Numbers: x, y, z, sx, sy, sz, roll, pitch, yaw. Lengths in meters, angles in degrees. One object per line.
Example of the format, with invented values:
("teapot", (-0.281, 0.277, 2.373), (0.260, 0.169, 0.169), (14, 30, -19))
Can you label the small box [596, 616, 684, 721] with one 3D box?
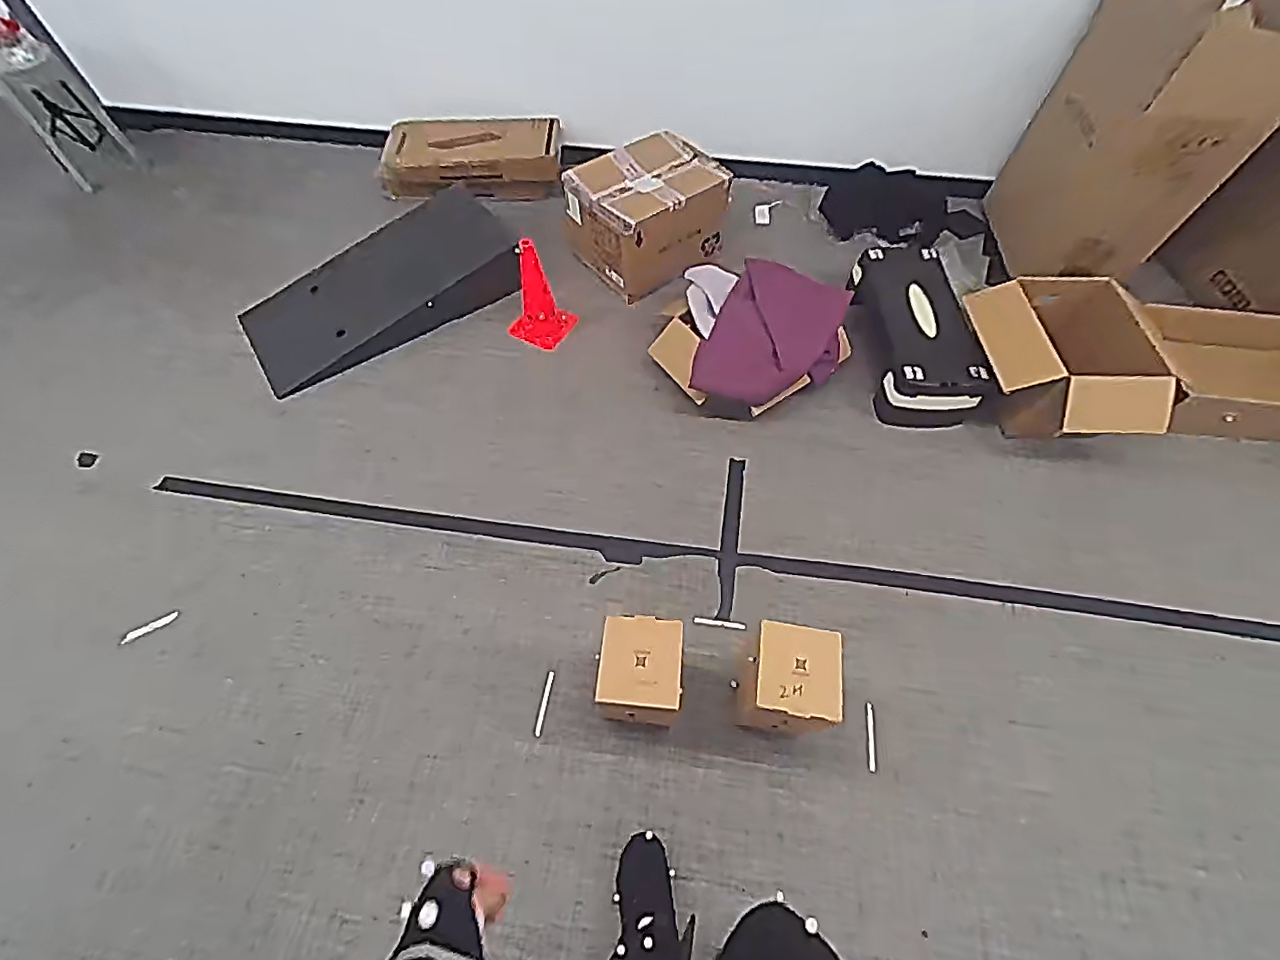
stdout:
("small box", (0.004, 0.406, 1.156), (0.168, 0.176, 0.179), (3, 61, 4))

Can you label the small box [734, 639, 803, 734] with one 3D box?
("small box", (0.321, 0.498, 1.292), (0.168, 0.176, 0.179), (7, 60, 5))

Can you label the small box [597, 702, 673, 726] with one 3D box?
("small box", (0.001, 0.486, 1.297), (0.179, 0.176, 0.168), (6, 60, 3))

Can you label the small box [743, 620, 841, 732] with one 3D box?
("small box", (0.317, 0.418, 1.146), (0.168, 0.176, 0.179), (9, 60, 6))
